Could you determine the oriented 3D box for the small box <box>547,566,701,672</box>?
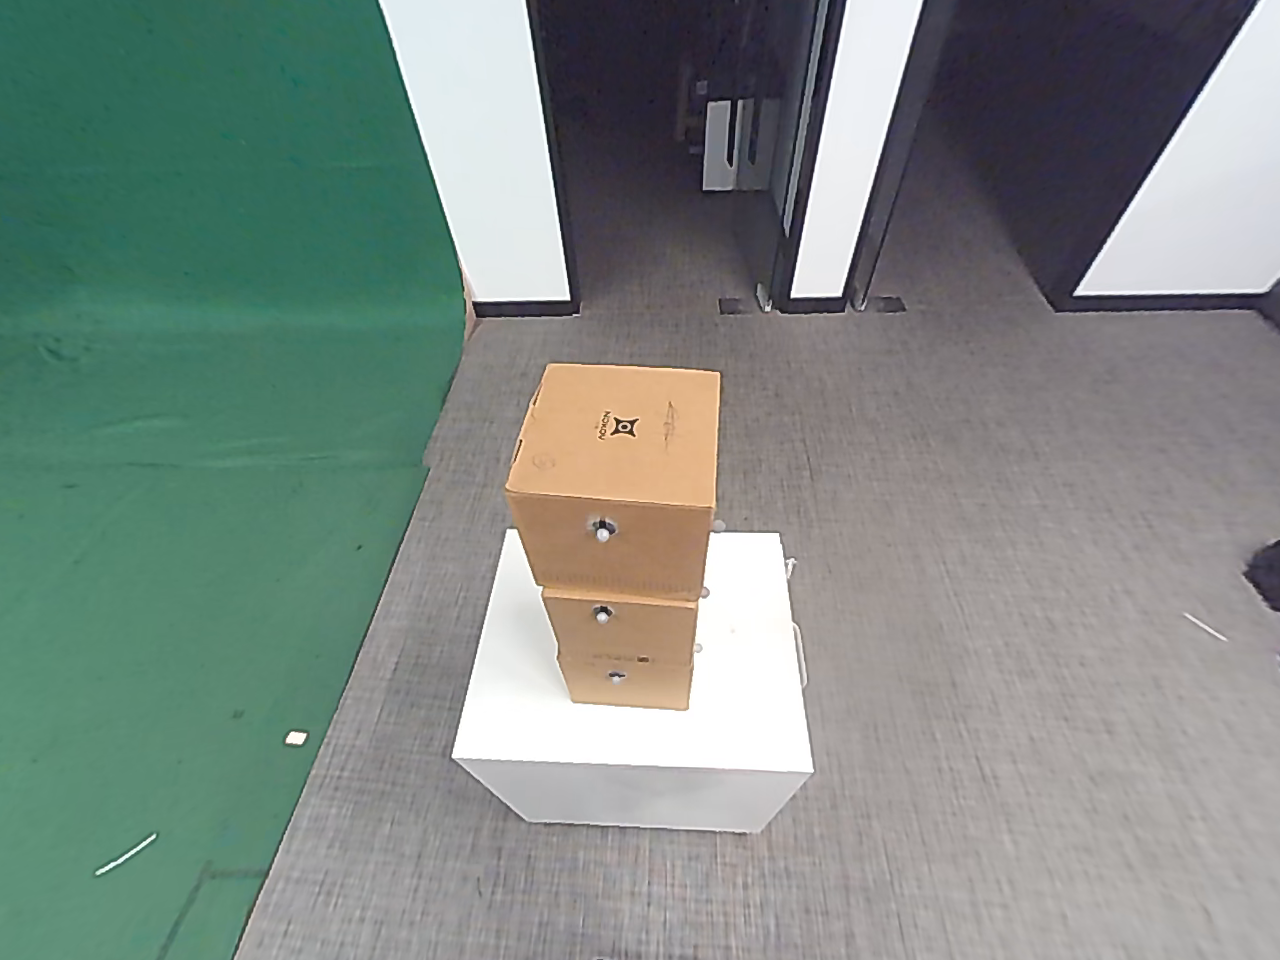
[{"bbox_3d":[-0.013,0.121,0.679,0.168,0.176,0.179,2,50,2],"label":"small box"}]

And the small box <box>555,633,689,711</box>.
[{"bbox_3d":[-0.015,0.228,0.799,0.179,0.176,0.168,3,49,4],"label":"small box"}]

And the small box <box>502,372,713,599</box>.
[{"bbox_3d":[-0.020,0.009,0.558,0.179,0.176,0.168,4,51,5],"label":"small box"}]
